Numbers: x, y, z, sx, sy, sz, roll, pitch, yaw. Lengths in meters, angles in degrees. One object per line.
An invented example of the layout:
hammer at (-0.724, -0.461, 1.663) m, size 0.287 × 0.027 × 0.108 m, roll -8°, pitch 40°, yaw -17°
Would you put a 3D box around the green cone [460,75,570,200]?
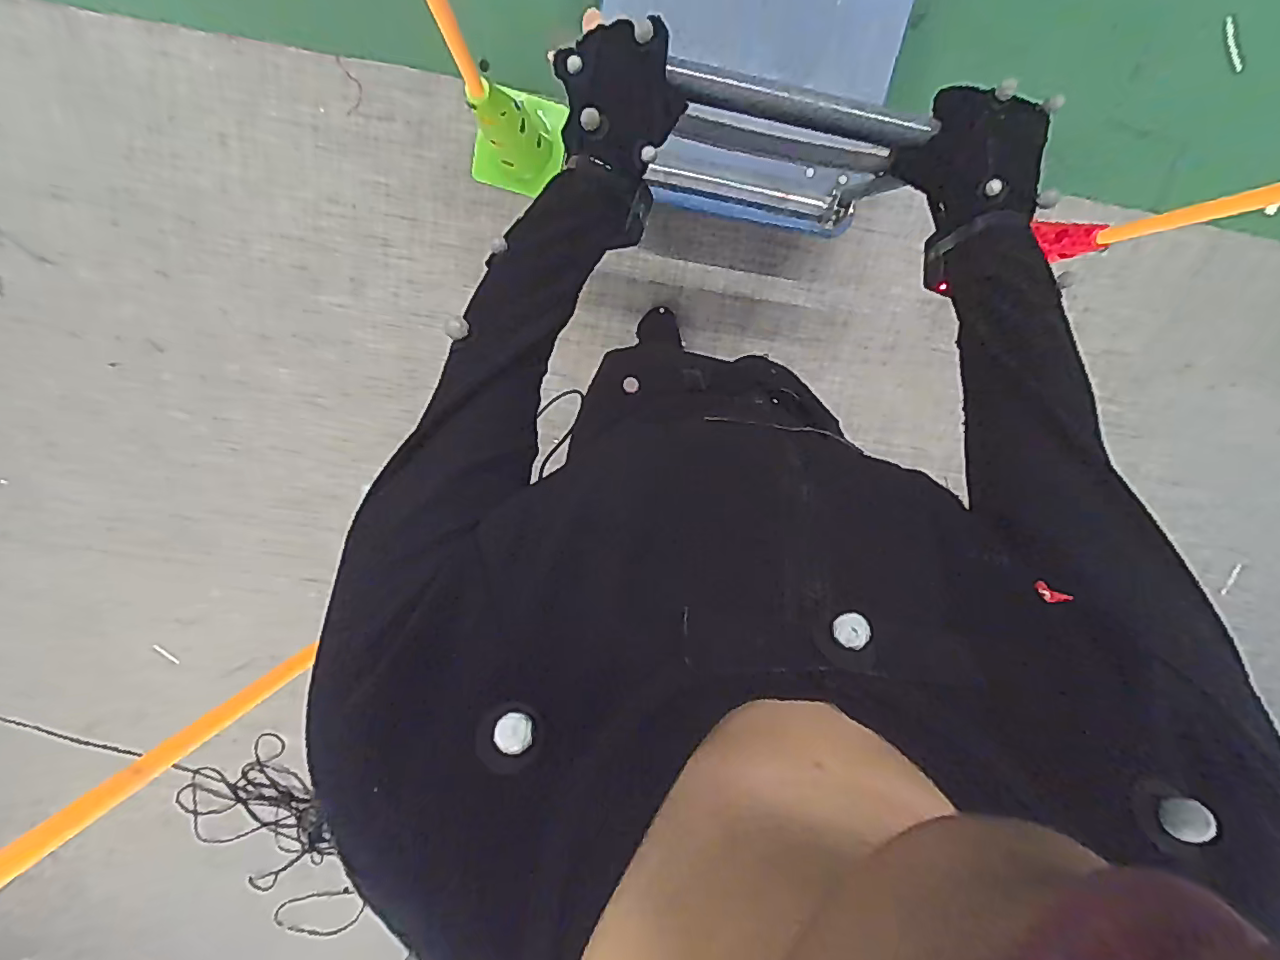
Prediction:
green cone at (-0.276, -0.719, 1.080) m, size 0.202 × 0.368 × 0.200 m, roll 14°, pitch 107°, yaw -4°
